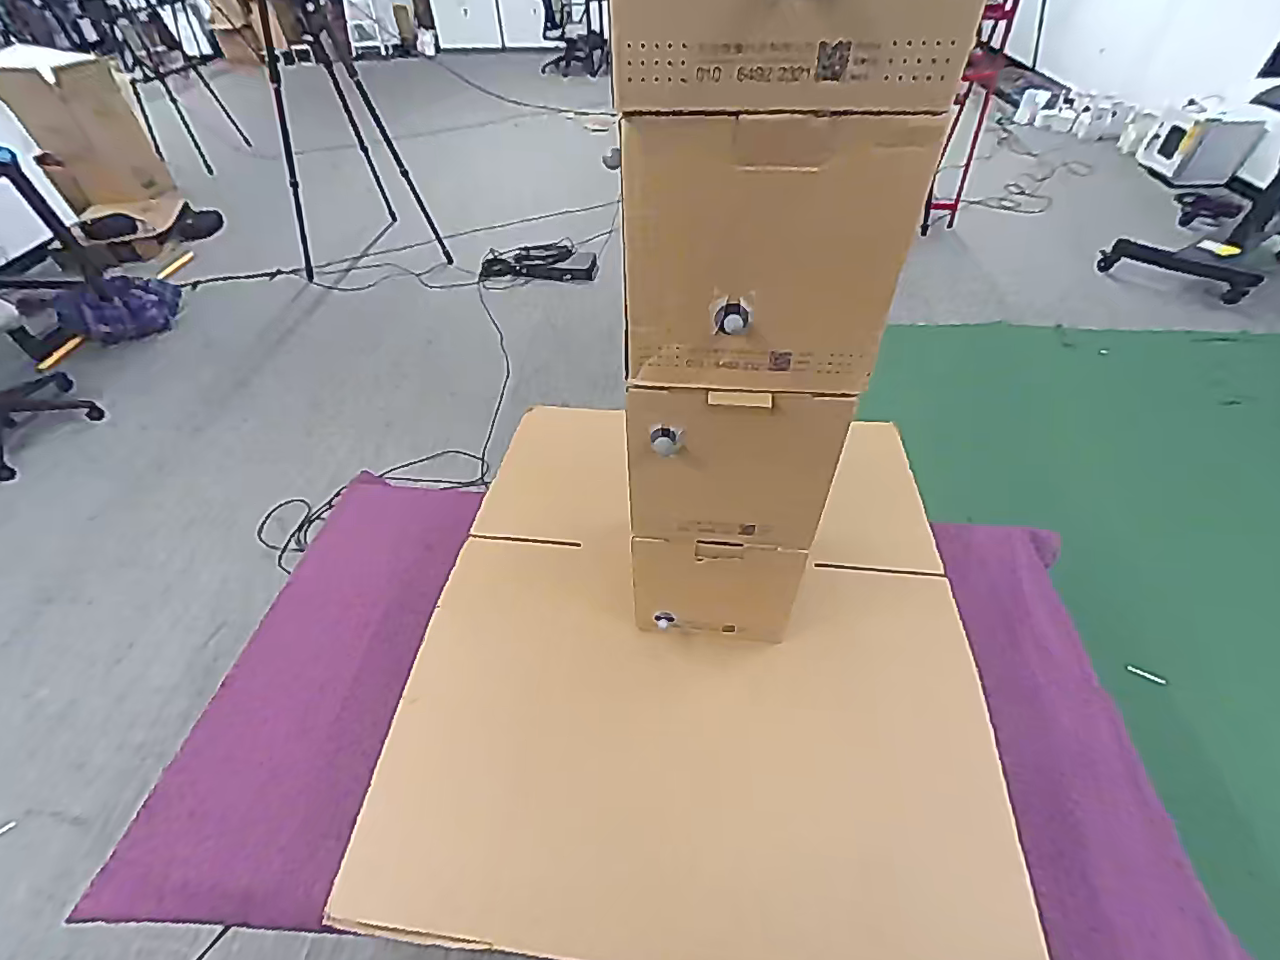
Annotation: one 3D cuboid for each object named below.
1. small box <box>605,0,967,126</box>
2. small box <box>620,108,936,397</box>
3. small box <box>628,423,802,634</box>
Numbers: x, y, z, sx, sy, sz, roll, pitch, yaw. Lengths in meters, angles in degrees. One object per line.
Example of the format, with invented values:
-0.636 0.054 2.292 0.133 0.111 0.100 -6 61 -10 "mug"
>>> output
0.070 -0.298 0.277 0.168 0.176 0.179 2 44 4 "small box"
0.077 -0.181 0.393 0.168 0.176 0.179 2 45 4 "small box"
0.082 0.056 0.618 0.168 0.176 0.179 4 45 5 "small box"
